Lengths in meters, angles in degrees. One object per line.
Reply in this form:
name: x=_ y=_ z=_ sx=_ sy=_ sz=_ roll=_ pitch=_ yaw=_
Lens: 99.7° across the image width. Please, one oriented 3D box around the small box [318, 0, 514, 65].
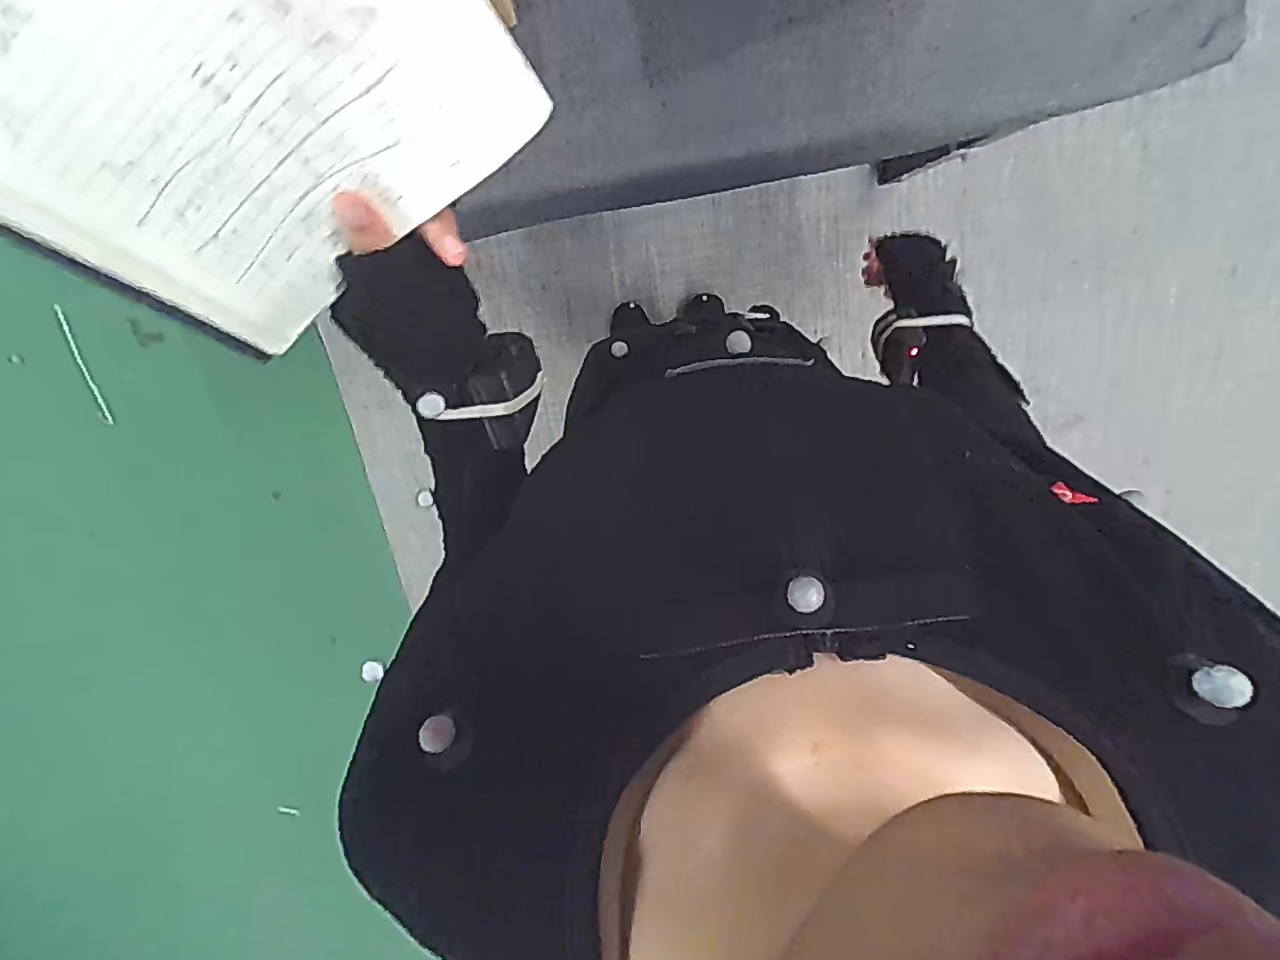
small box: x=-0.230 y=-0.523 z=0.483 sx=0.168 sy=0.176 sz=0.179 roll=-13 pitch=108 yaw=5
